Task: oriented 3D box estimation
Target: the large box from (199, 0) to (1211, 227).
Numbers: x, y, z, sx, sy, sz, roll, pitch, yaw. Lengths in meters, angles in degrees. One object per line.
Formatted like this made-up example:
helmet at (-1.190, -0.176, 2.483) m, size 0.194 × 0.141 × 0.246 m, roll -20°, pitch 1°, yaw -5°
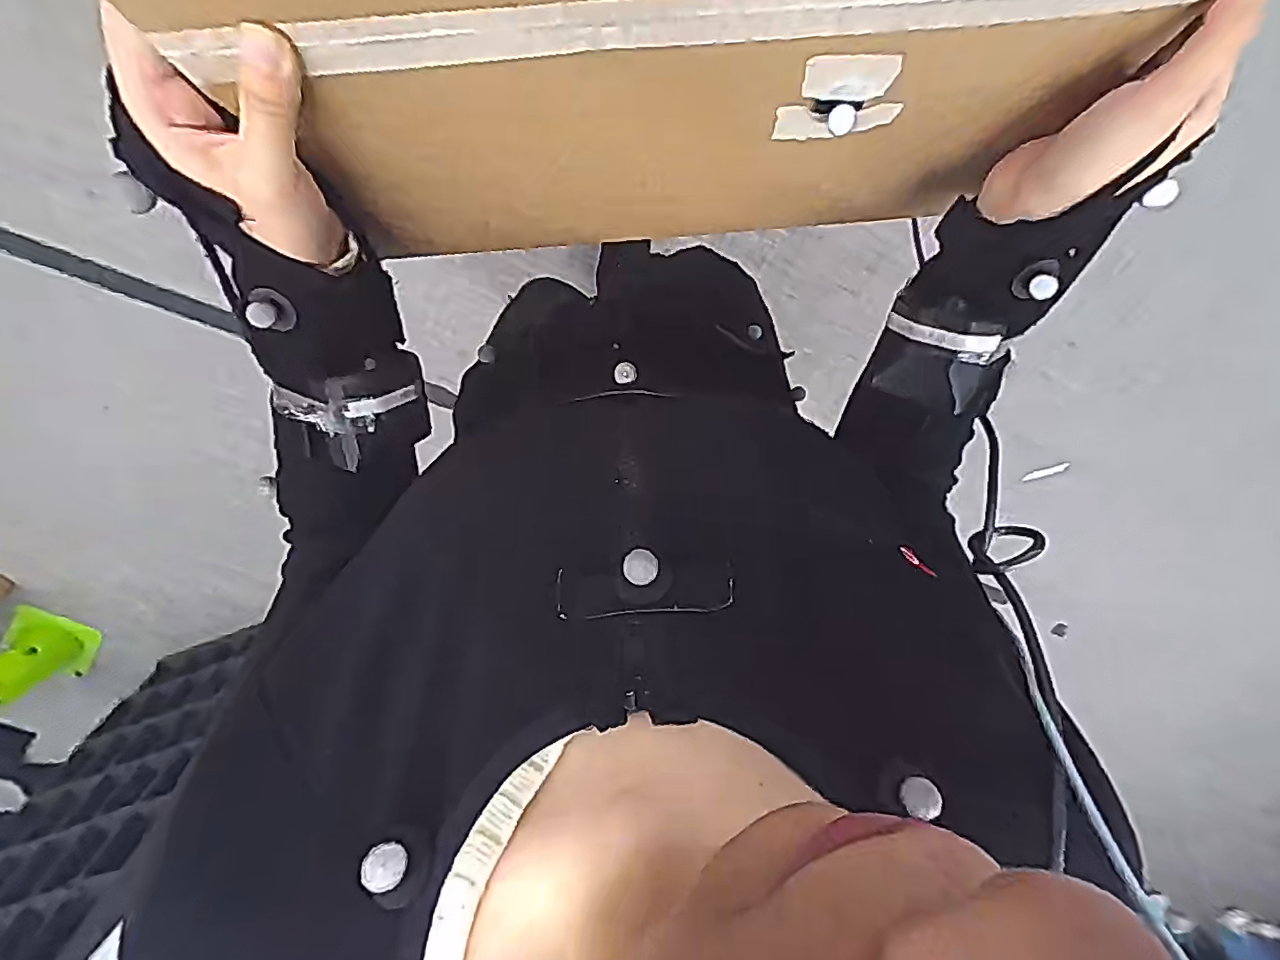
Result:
large box at (0.025, -0.338, 0.198) m, size 0.408 × 0.320 × 0.320 m, roll -5°, pitch 85°, yaw -1°
